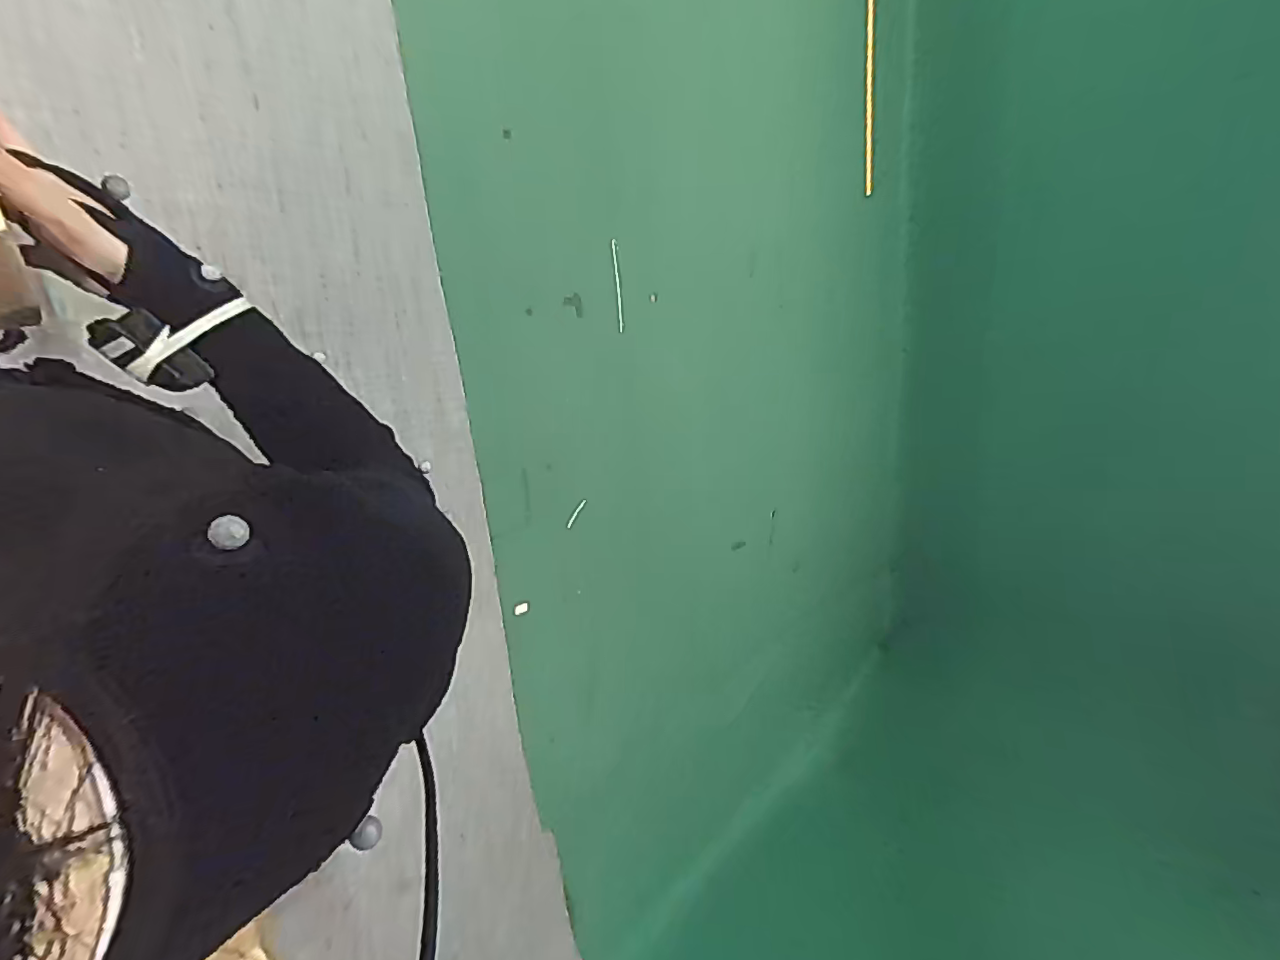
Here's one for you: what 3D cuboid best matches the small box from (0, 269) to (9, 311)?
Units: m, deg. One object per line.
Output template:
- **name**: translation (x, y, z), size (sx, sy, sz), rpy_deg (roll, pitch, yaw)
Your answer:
- **small box**: translation (-0.455, -0.175, 0.252), size (0.168, 0.176, 0.179), rpy_deg (-26, 102, -44)
